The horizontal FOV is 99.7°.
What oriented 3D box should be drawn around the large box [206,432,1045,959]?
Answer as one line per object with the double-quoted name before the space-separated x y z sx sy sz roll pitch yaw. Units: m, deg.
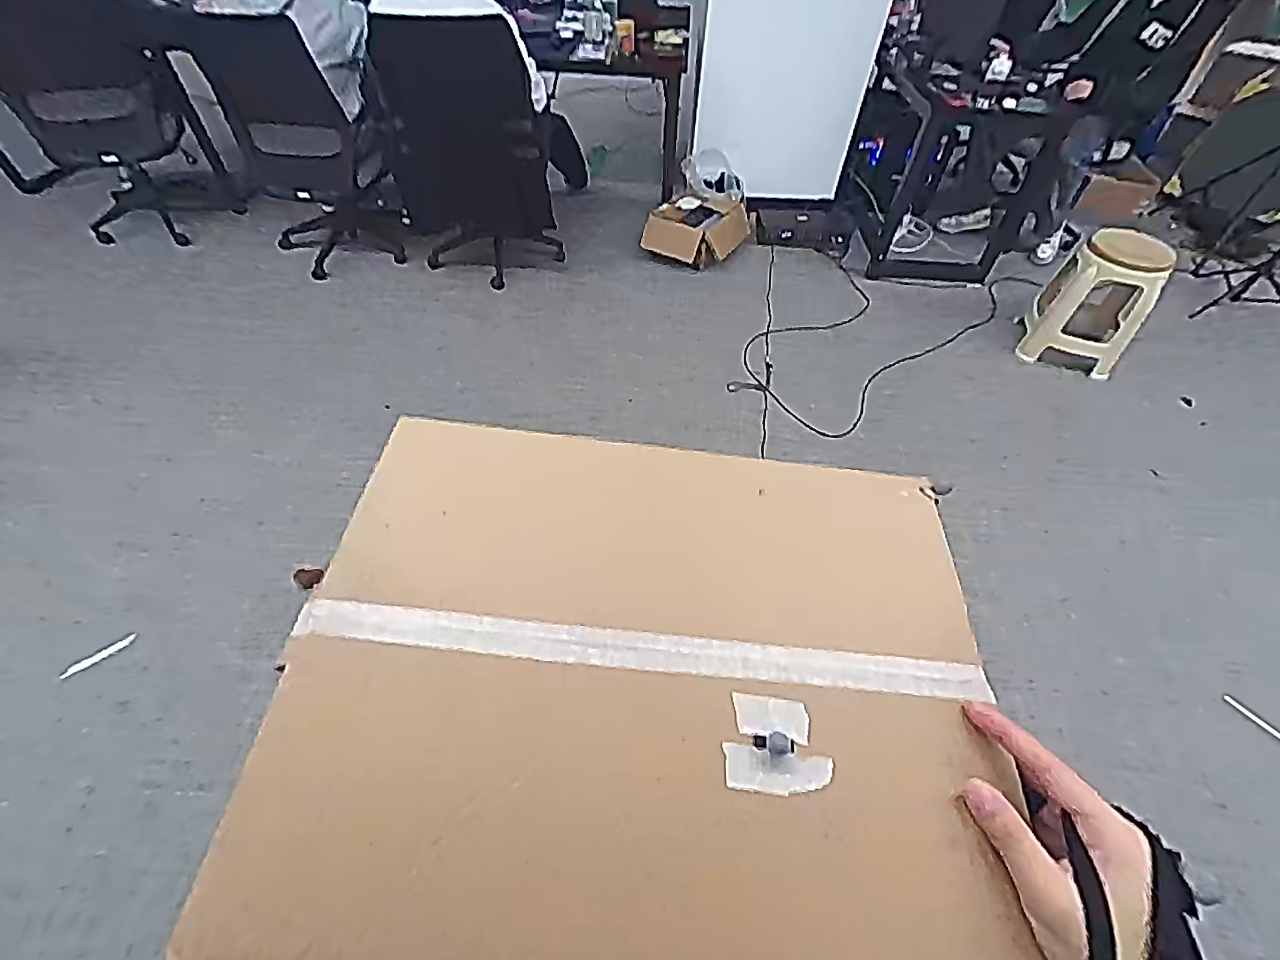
"large box" -0.005 0.192 0.454 0.408 0.320 0.320 7 56 -3
